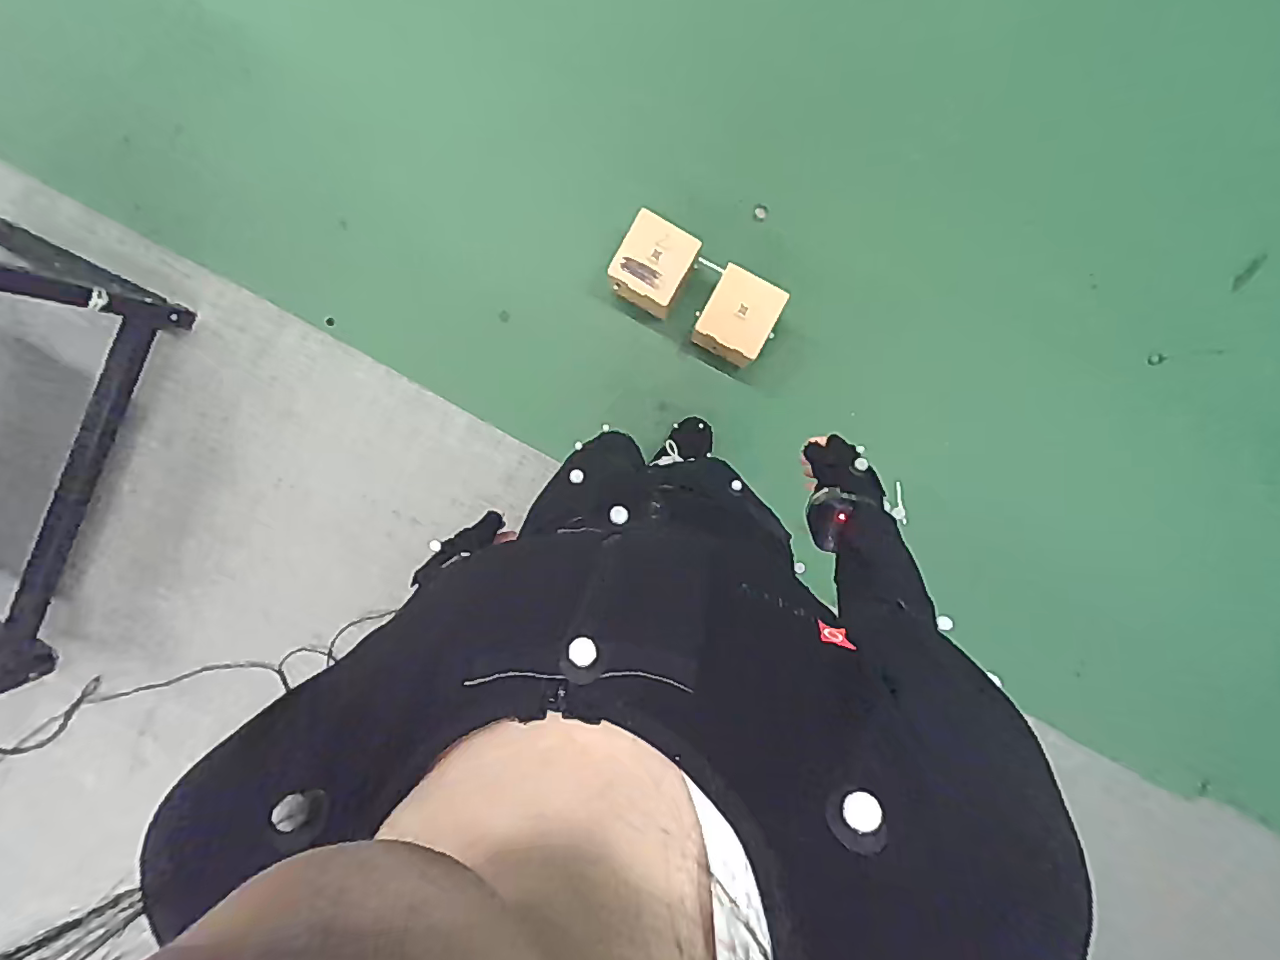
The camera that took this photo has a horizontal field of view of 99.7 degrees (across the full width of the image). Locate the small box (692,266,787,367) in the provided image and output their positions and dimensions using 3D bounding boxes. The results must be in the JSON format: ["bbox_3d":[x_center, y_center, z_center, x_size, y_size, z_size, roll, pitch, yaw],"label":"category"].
[{"bbox_3d":[0.241,-0.403,1.365,0.168,0.176,0.179,28,97,-2],"label":"small box"}]
